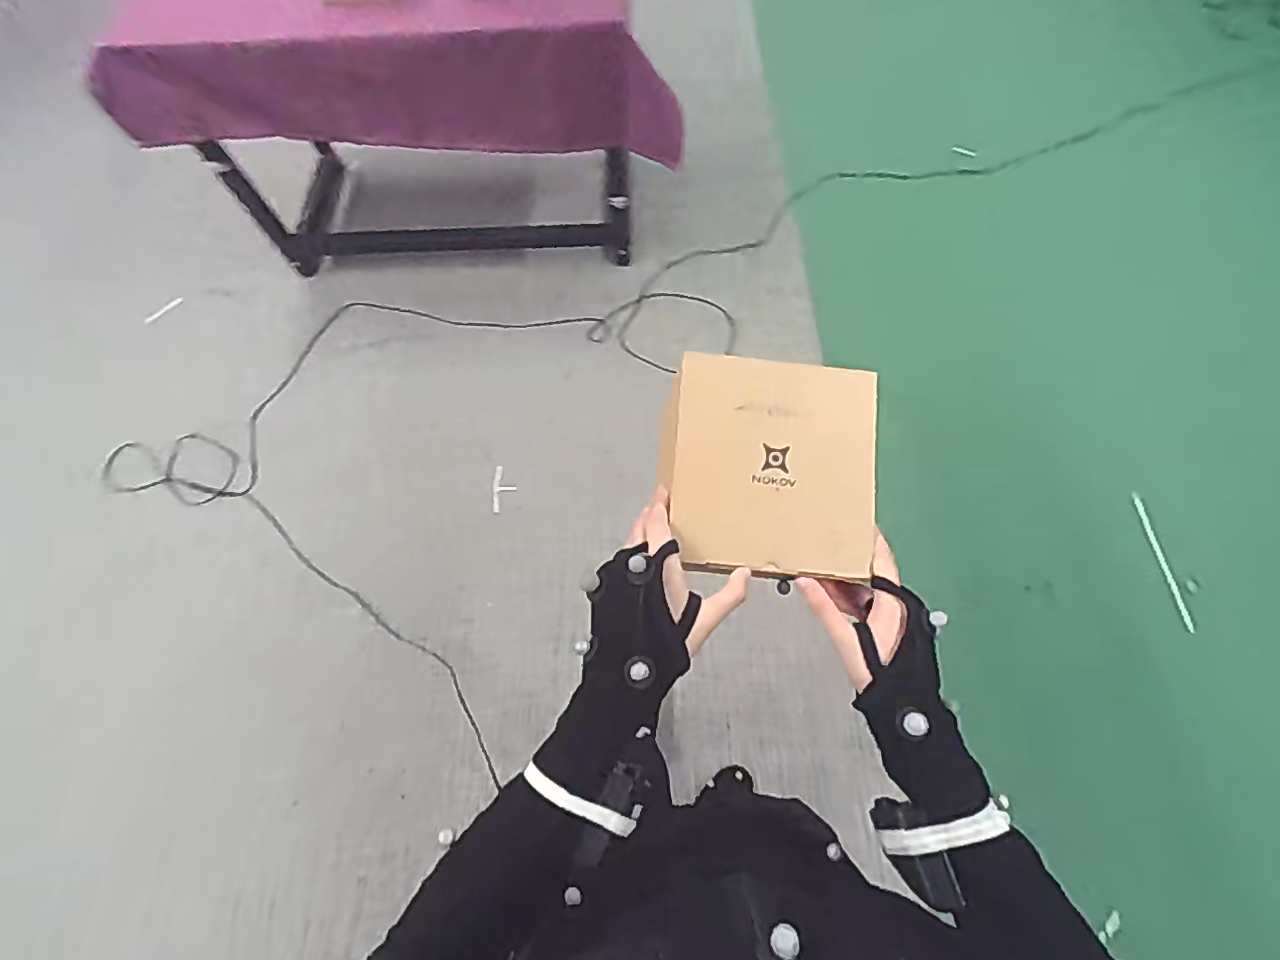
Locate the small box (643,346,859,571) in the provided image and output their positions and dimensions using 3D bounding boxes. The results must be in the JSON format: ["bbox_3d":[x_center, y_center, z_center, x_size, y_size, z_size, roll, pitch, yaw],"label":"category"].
[{"bbox_3d":[0.094,-0.006,0.520,0.168,0.176,0.179,5,79,-3],"label":"small box"}]
